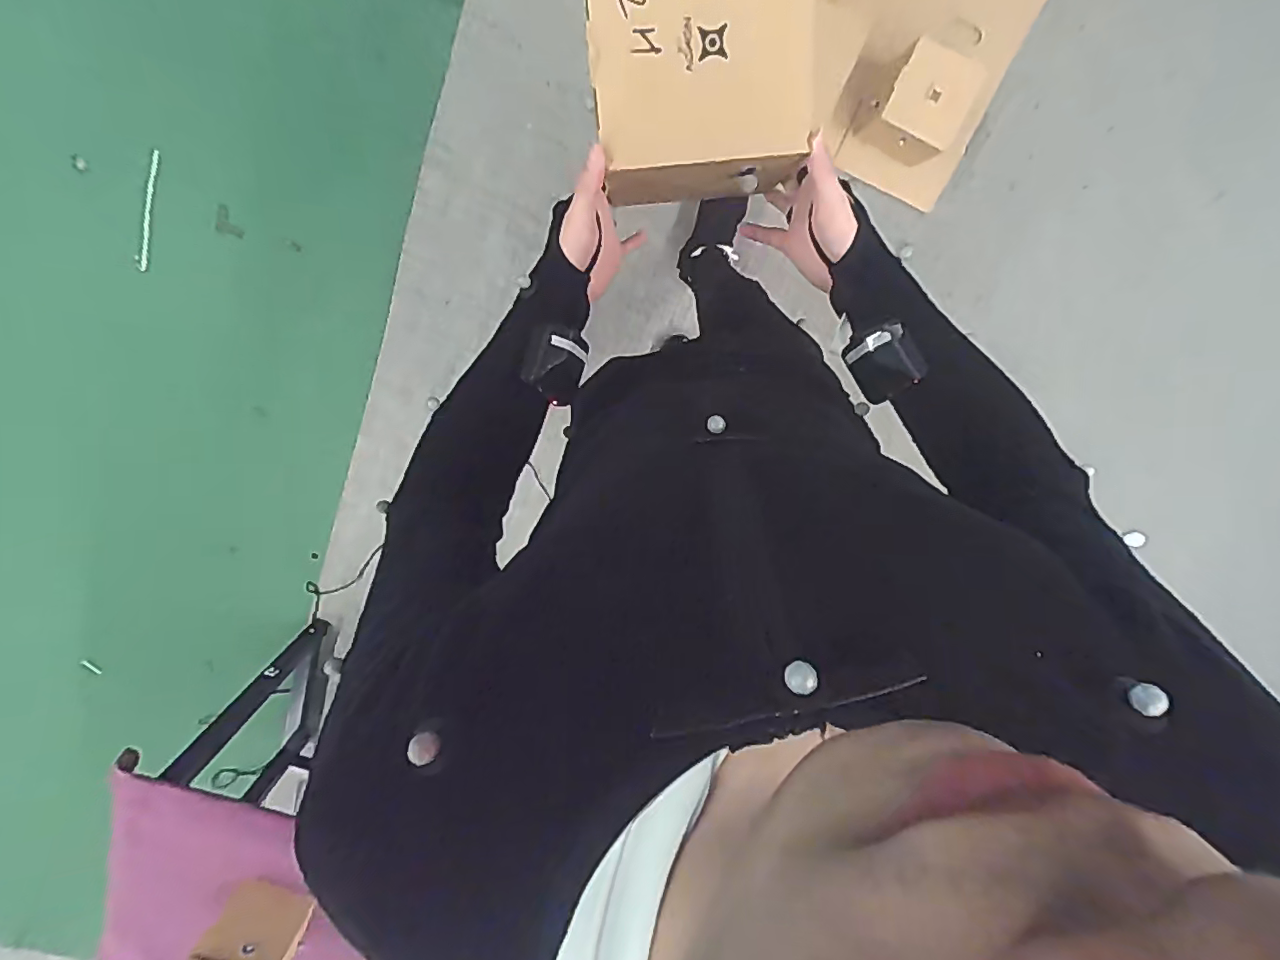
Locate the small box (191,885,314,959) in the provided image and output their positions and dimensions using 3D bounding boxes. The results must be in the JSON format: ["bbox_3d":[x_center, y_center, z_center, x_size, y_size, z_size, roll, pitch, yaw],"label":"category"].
[{"bbox_3d":[-0.853,1.033,1.179,0.179,0.176,0.168,24,108,-7],"label":"small box"}]

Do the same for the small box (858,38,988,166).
[{"bbox_3d":[0.643,-0.862,1.256,0.179,0.176,0.168,23,108,-7],"label":"small box"}]

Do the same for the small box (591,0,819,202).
[{"bbox_3d":[0.051,-0.364,0.494,0.179,0.176,0.168,-4,107,2],"label":"small box"}]
